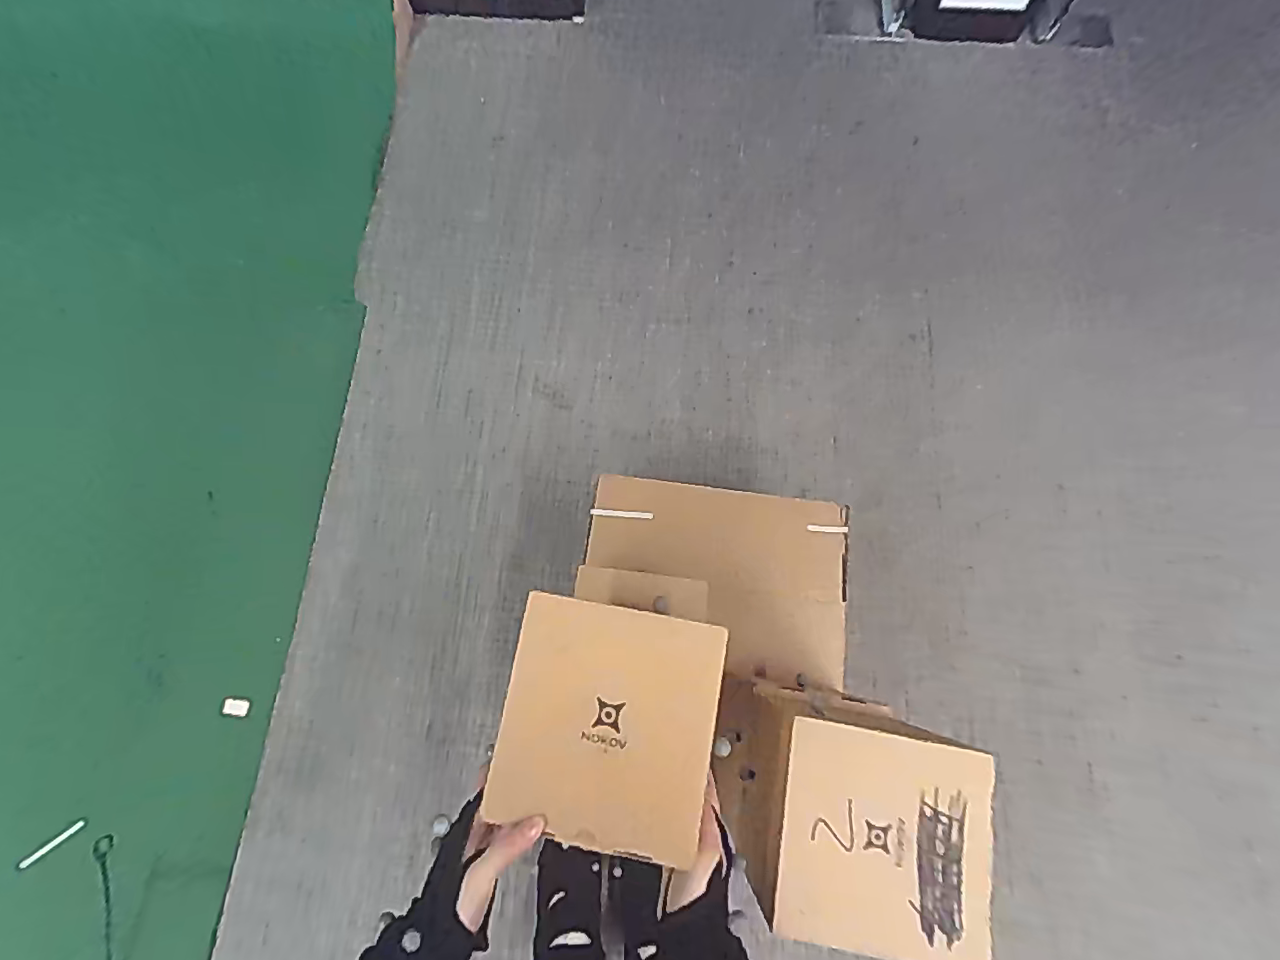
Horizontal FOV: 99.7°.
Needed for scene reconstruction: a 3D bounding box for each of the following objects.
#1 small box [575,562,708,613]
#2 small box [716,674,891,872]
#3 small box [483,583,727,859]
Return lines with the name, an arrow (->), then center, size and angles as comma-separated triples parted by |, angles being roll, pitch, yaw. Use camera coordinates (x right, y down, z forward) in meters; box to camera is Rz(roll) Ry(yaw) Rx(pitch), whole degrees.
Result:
small box -> -0.007, 0.218, 0.724 | 0.168, 0.176, 0.179 | 7, 73, 2
small box -> 0.196, 0.349, 0.682 | 0.168, 0.176, 0.179 | 9, 73, 2
small box -> -0.020, 0.199, 0.499 | 0.168, 0.176, 0.179 | 9, 78, 7
